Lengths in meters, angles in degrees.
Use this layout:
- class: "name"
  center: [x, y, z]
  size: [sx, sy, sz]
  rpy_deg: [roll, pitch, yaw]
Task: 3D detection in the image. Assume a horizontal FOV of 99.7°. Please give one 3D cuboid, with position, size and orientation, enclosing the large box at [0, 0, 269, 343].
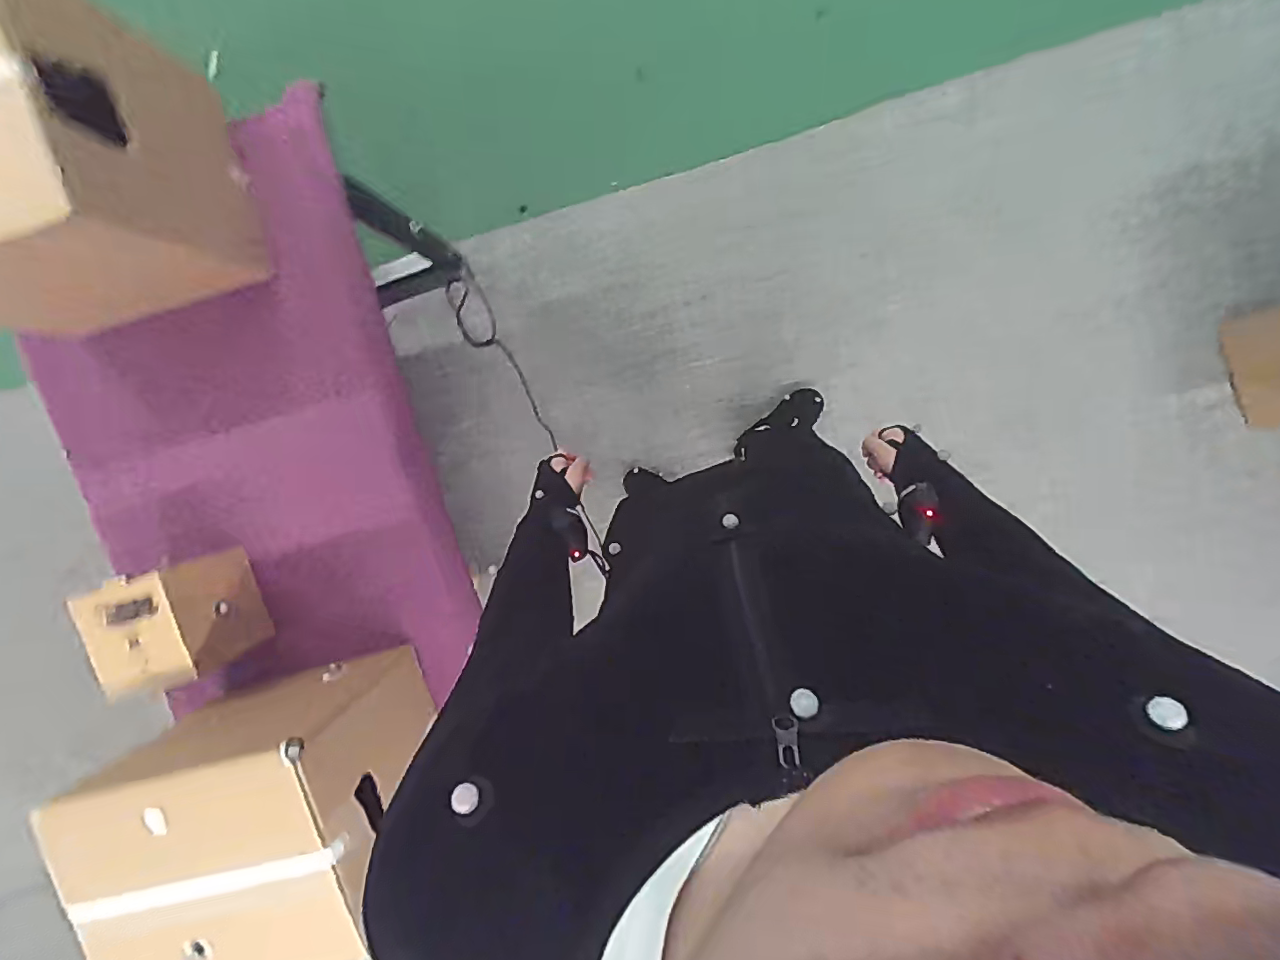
- class: "large box"
  center: [-0.851, -0.411, 0.756]
  size: [0.408, 0.320, 0.320]
  rpy_deg: [-15, 98, 6]
